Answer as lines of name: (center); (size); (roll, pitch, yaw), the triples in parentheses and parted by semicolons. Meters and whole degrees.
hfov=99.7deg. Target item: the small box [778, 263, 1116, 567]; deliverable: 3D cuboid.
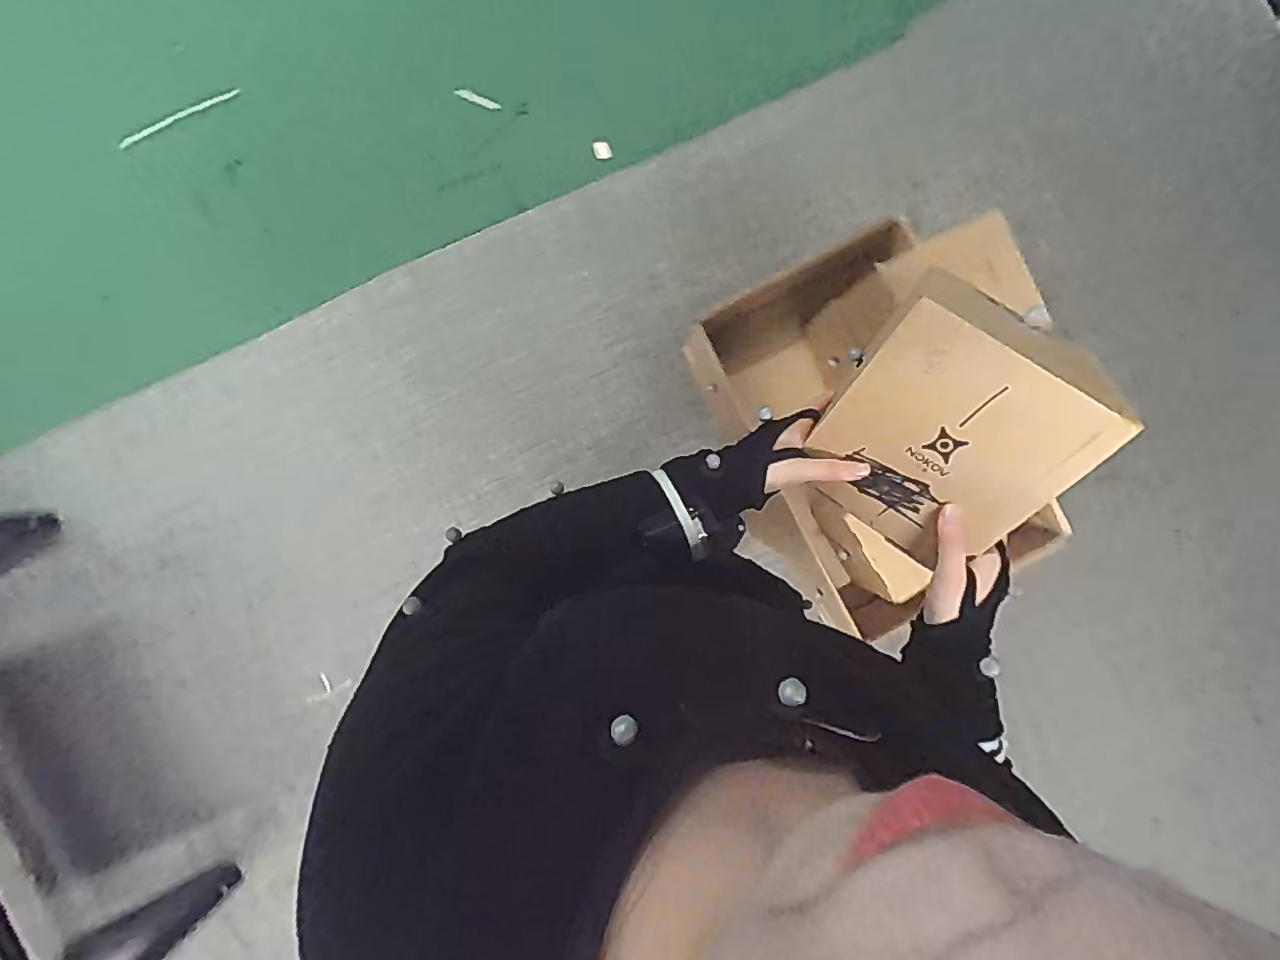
small box: (0.255, -0.064, 0.479); (0.168, 0.176, 0.179); (35, 129, 8)

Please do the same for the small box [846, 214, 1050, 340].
small box: (0.422, -0.238, 0.780); (0.179, 0.176, 0.168); (-24, 91, -1)
